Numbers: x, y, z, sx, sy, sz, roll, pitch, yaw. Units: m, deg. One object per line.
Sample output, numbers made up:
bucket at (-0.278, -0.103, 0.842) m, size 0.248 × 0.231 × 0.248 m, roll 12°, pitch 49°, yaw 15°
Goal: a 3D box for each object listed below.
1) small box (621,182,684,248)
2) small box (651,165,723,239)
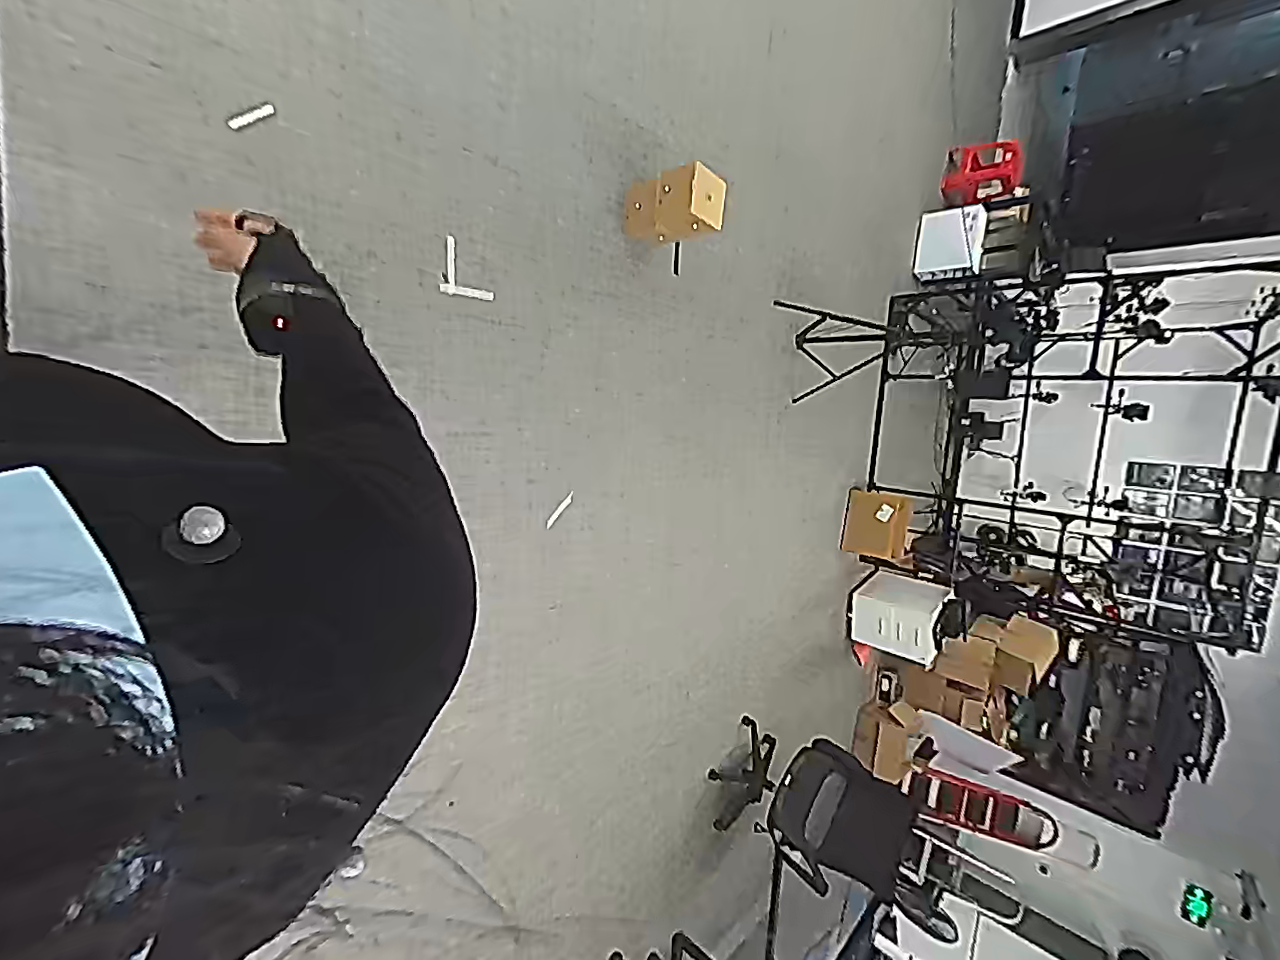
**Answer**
small box at (0.047, -0.971, 1.996) m, size 0.179 × 0.176 × 0.168 m, roll -6°, pitch 102°, yaw -47°
small box at (0.164, -0.956, 1.883) m, size 0.179 × 0.176 × 0.168 m, roll 4°, pitch 94°, yaw -47°
